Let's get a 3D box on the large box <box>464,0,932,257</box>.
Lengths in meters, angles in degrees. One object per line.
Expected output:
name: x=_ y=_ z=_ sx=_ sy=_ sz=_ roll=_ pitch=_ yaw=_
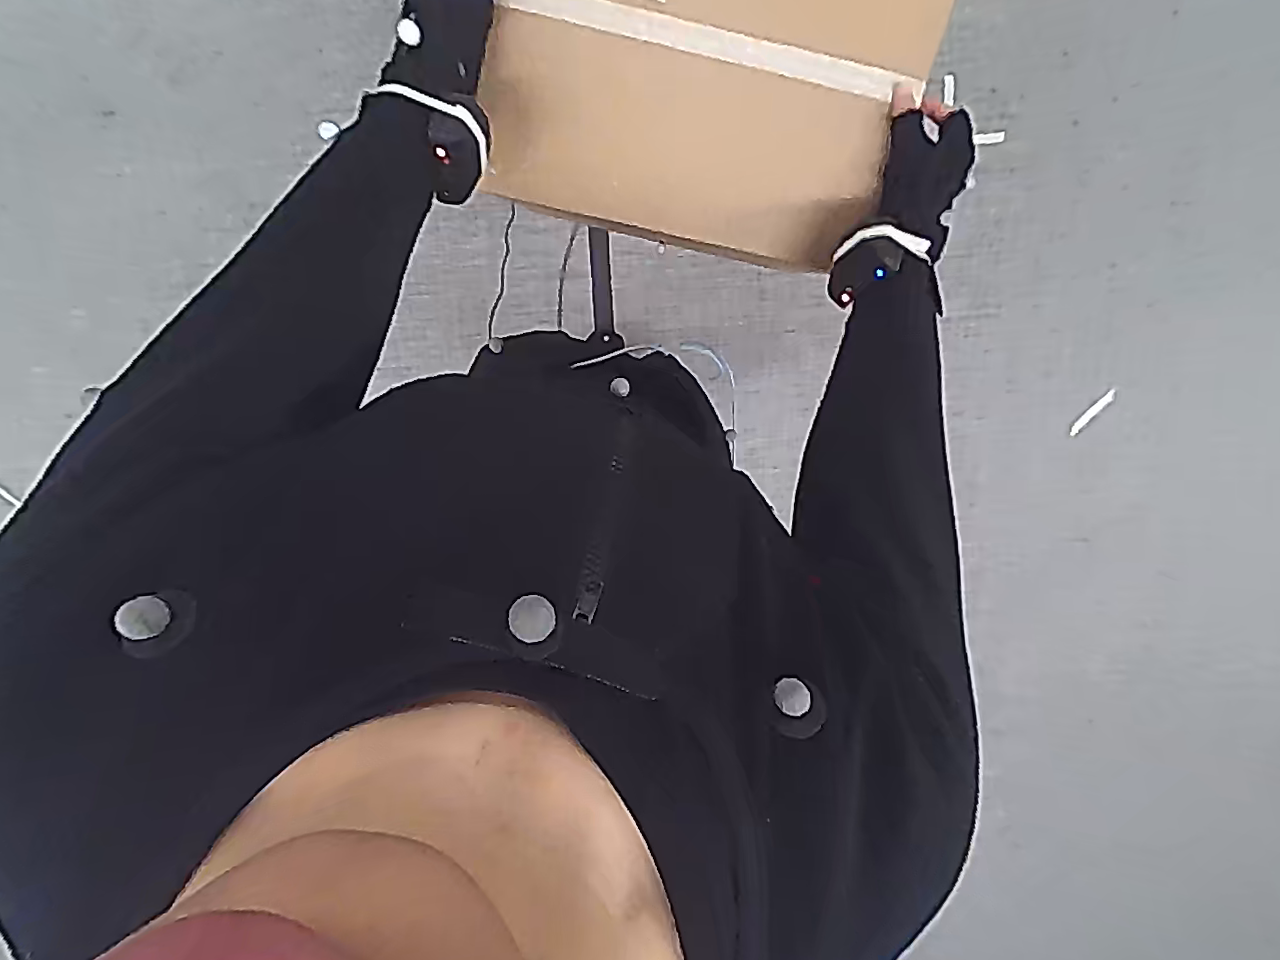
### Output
large box: x=0.054 y=-0.456 z=0.621 sx=0.408 sy=0.320 sz=0.320 roll=11 pitch=111 yaw=-3
